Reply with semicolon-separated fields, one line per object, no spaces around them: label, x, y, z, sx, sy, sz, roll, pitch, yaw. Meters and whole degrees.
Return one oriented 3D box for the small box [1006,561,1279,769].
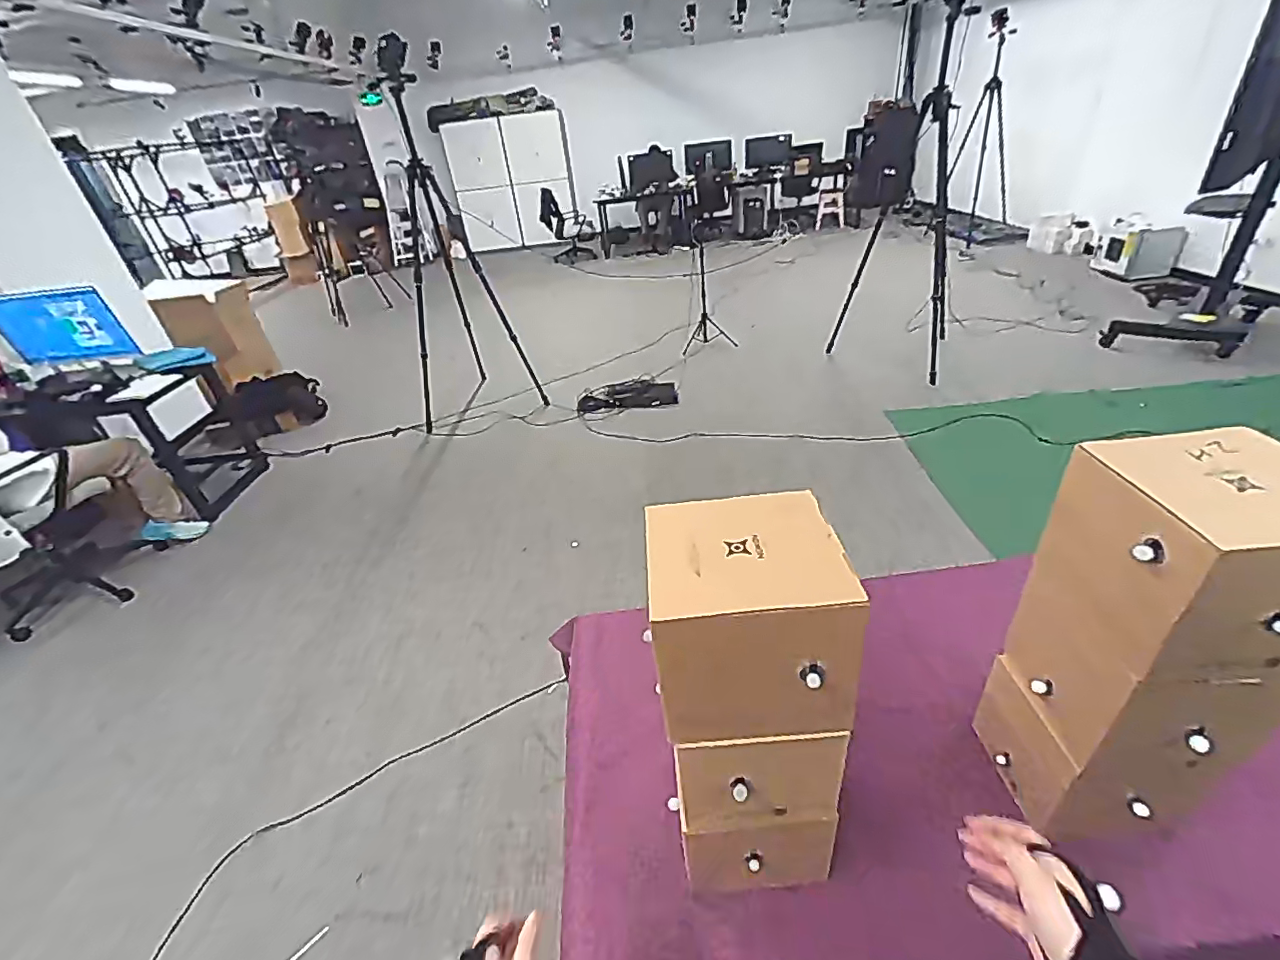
small box;0.563;0.208;0.619;0.168;0.176;0.179;-4;34;6

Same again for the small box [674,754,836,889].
small box;0.138;0.404;0.709;0.179;0.176;0.168;-7;33;2

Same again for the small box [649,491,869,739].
small box;0.103;0.131;0.535;0.179;0.176;0.168;-6;31;4

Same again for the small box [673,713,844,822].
small box;0.123;0.267;0.623;0.168;0.176;0.179;-6;32;3

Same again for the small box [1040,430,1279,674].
small box;0.542;0.072;0.528;0.168;0.176;0.179;-5;33;5
